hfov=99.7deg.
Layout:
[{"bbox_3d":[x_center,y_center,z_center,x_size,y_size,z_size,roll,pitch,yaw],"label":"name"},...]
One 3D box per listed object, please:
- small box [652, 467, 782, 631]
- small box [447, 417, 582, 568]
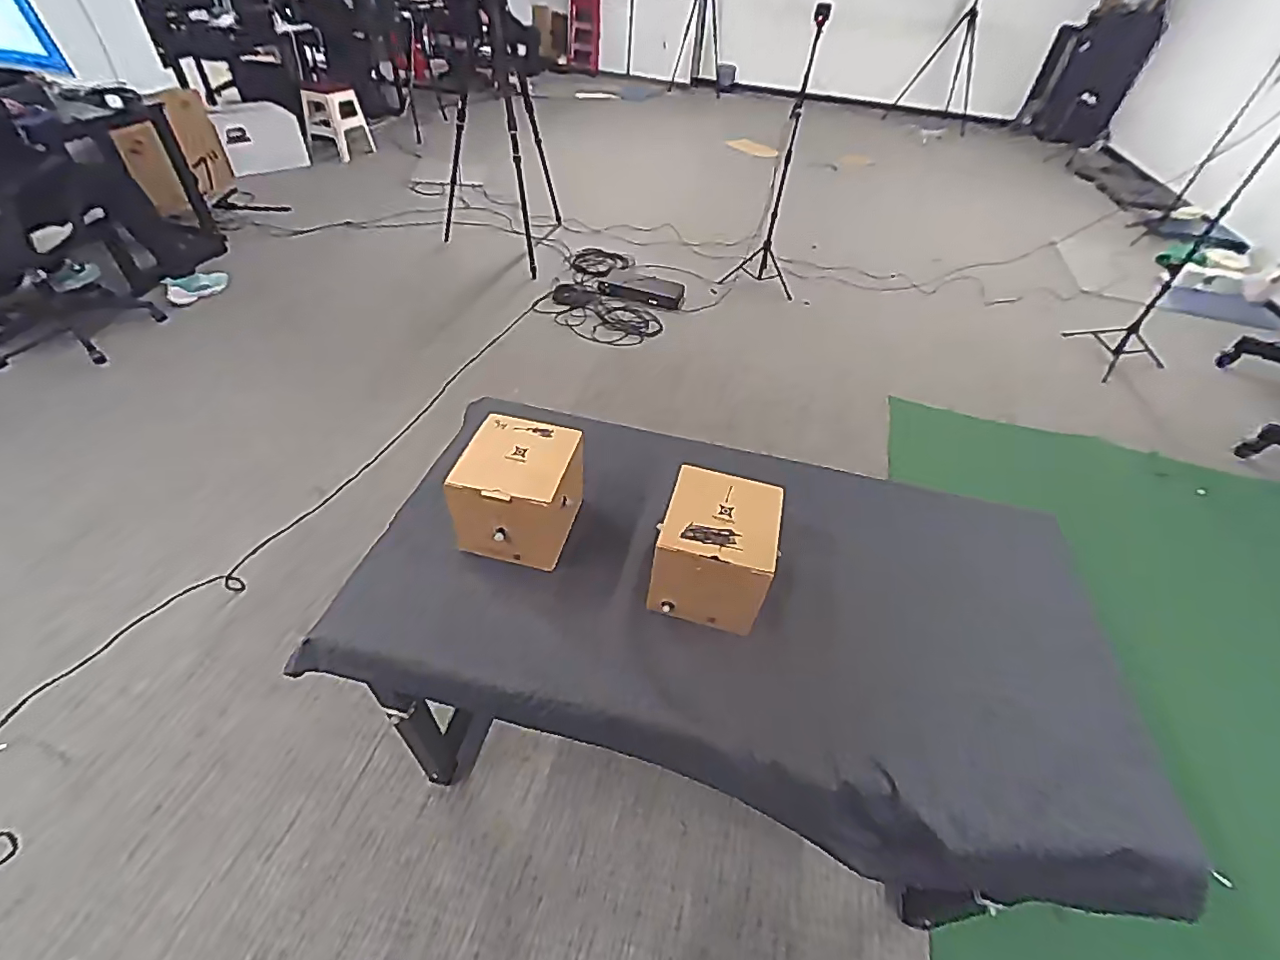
[{"bbox_3d":[0.118,0.111,0.857,0.168,0.176,0.179,14,44,8],"label":"small box"},{"bbox_3d":[-0.197,0.024,0.915,0.168,0.176,0.179,12,46,6],"label":"small box"}]
